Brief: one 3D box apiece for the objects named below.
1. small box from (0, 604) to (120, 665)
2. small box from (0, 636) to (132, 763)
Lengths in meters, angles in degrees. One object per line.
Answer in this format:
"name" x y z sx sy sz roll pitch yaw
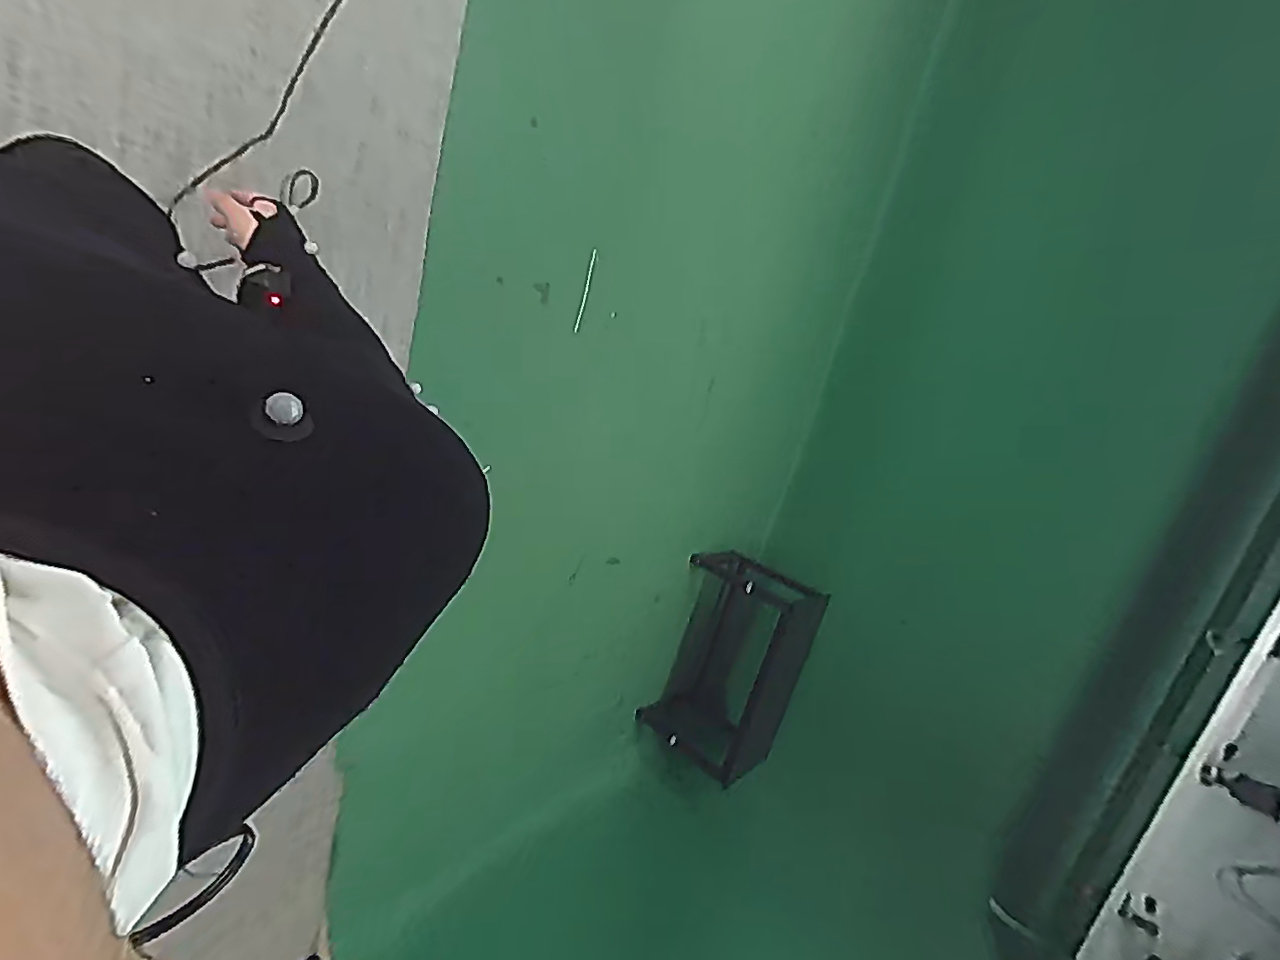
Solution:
"small box" -1.320 0.391 1.215 0.179 0.176 0.168 13 99 -53
"small box" -1.197 0.440 1.114 0.179 0.176 0.168 13 100 -54
